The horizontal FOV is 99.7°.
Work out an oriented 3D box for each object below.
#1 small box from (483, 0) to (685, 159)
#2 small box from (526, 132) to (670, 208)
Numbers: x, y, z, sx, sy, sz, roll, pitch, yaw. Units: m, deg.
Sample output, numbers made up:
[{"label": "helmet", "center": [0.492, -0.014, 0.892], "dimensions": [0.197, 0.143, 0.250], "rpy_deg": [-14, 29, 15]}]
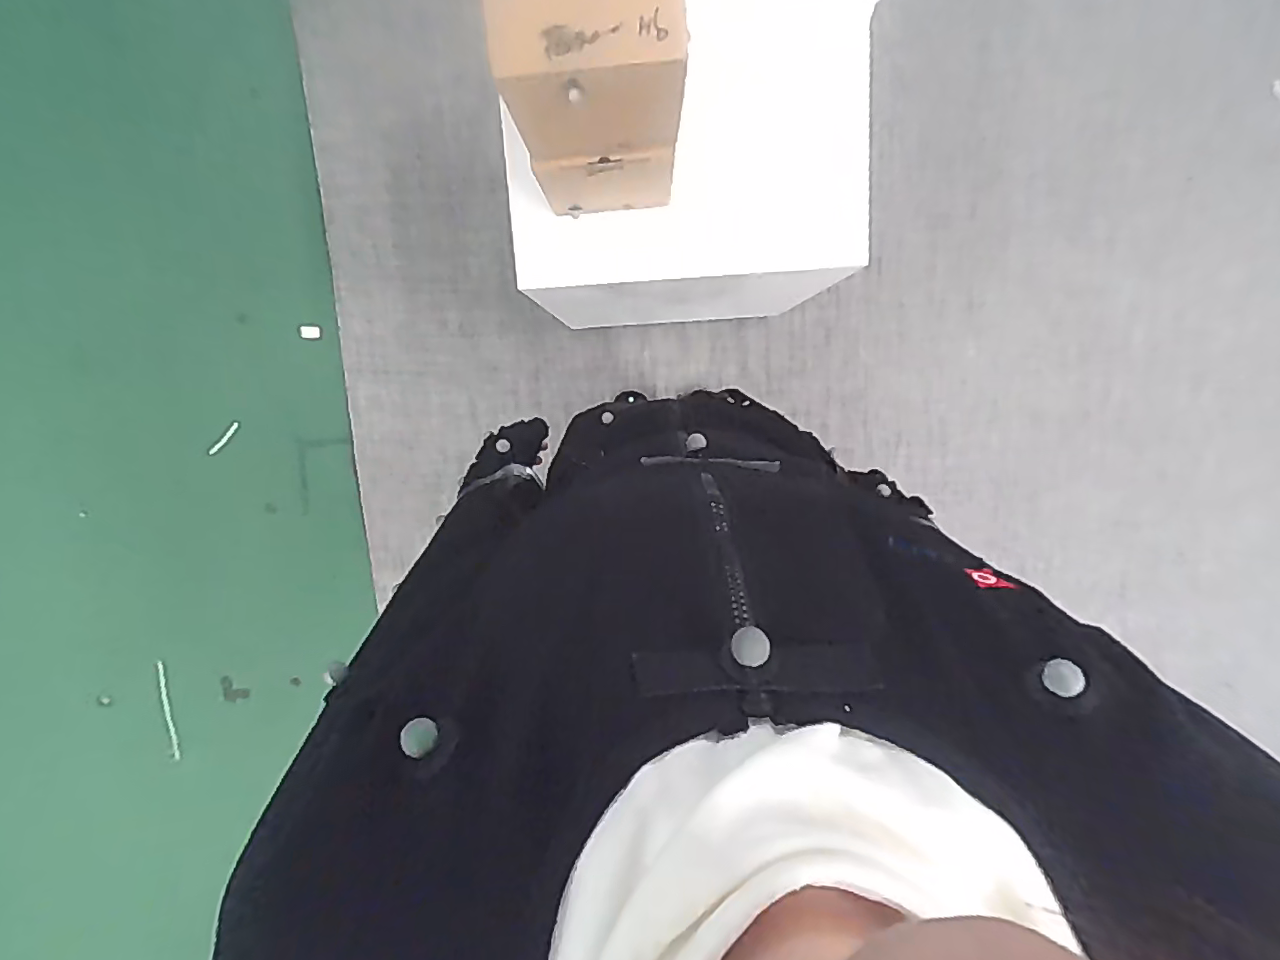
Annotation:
[{"label": "small box", "center": [-0.049, -0.440, 0.515], "dimensions": [0.168, 0.176, 0.179], "rpy_deg": [-4, 99, 2]}, {"label": "small box", "center": [-0.049, -0.457, 0.678], "dimensions": [0.168, 0.176, 0.179], "rpy_deg": [-4, 99, 1]}]
